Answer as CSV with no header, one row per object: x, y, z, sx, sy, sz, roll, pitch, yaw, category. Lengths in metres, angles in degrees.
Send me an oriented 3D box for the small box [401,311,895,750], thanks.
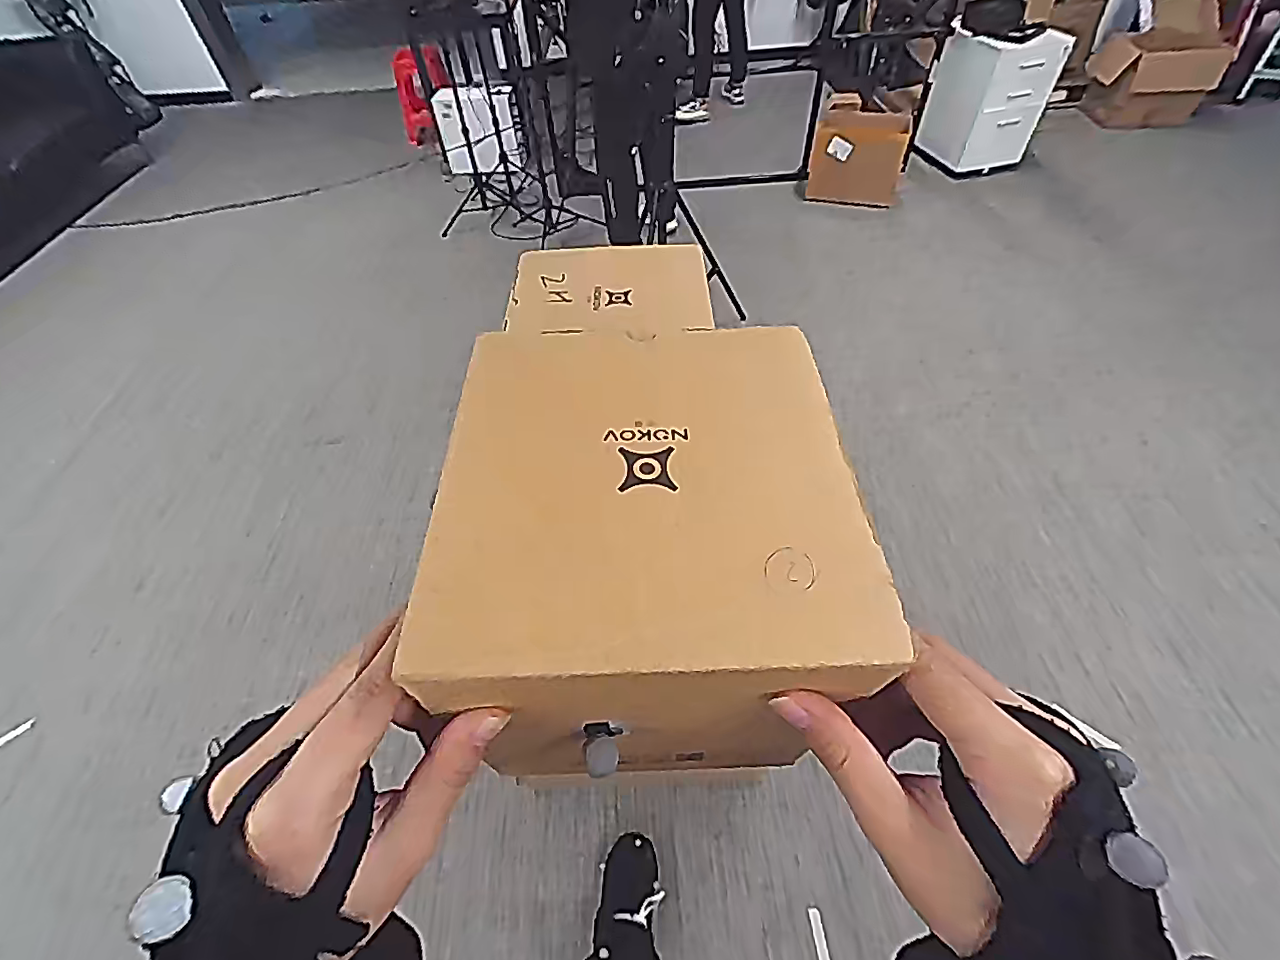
0.001,0.034,0.288,0.168,0.176,0.179,-2,51,-2,small box

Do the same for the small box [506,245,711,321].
-0.024,-0.107,0.532,0.179,0.176,0.168,-3,51,1,small box
